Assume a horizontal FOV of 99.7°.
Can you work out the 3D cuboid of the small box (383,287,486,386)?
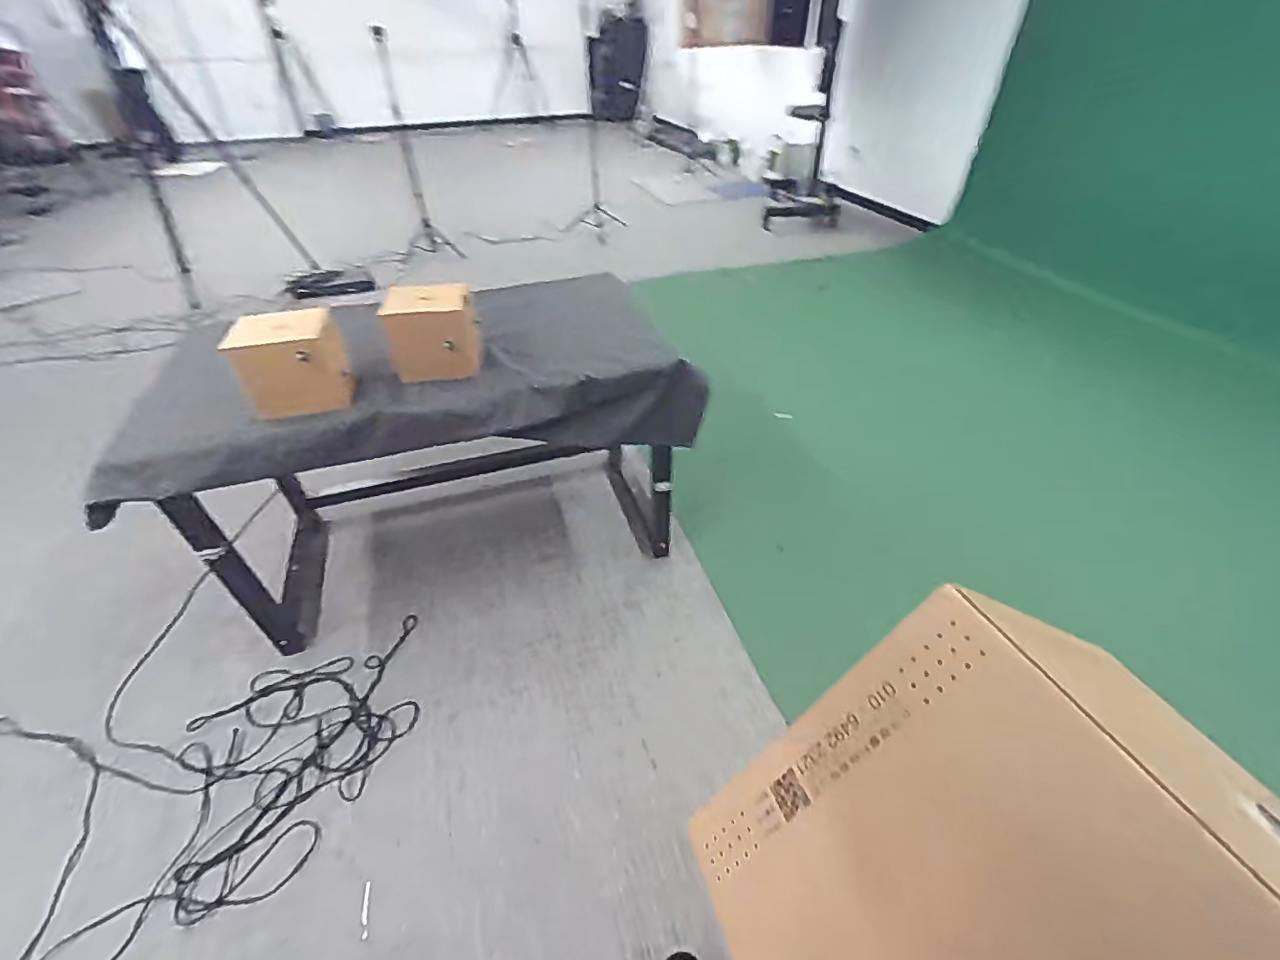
[{"bbox_3d":[-0.470,-0.336,1.271,0.179,0.176,0.168,-6,39,-4],"label":"small box"}]

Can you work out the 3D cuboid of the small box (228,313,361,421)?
[{"bbox_3d":[-0.732,-0.243,1.166,0.179,0.176,0.168,-11,40,-12],"label":"small box"}]
